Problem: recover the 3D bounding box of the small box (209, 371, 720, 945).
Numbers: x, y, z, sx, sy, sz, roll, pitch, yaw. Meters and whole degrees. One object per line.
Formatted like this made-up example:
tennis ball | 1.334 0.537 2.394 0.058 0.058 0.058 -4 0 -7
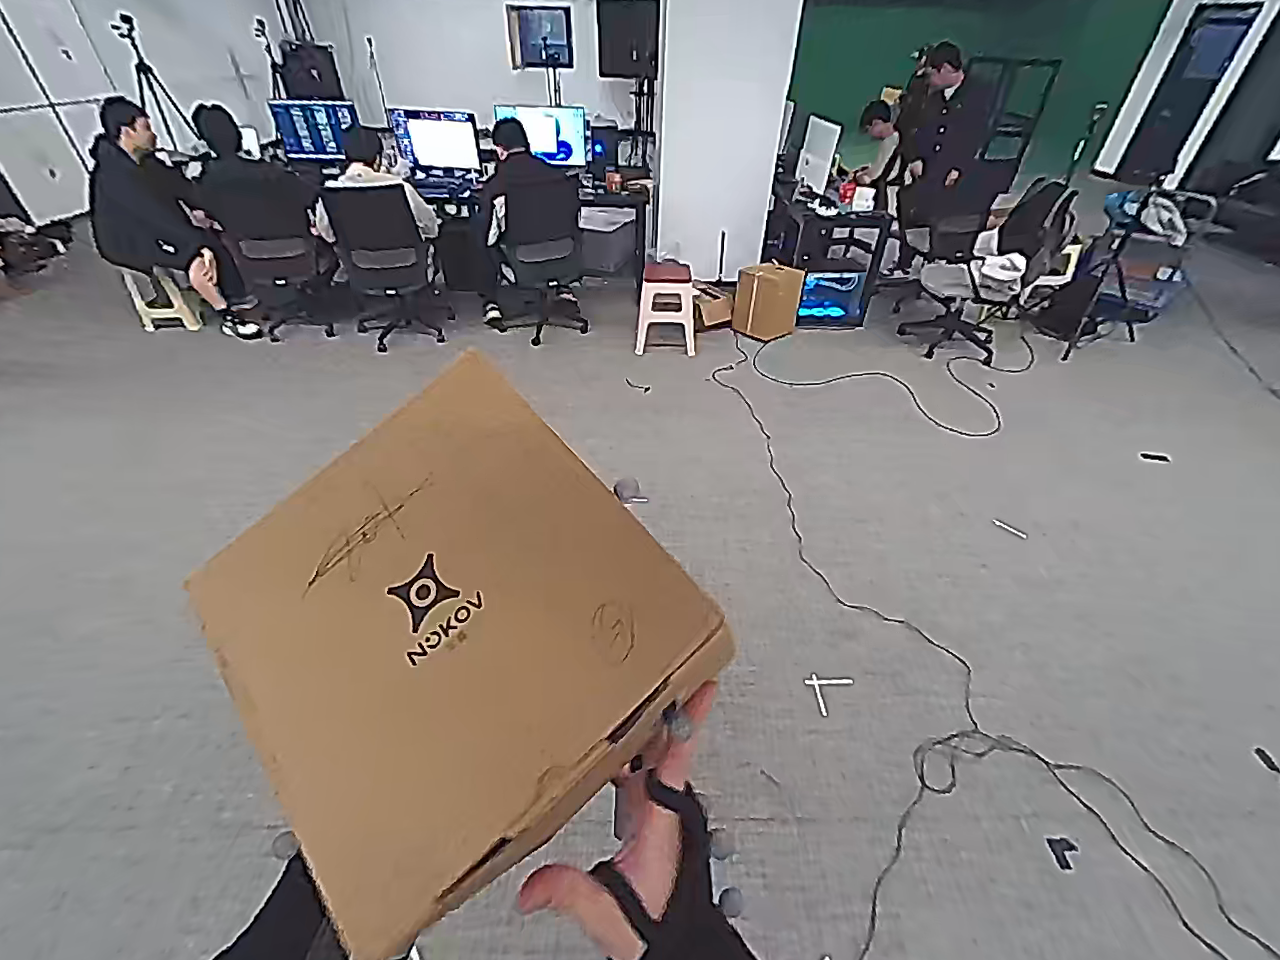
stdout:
small box | -0.070 0.081 0.301 0.168 0.176 0.179 -44 68 -8
